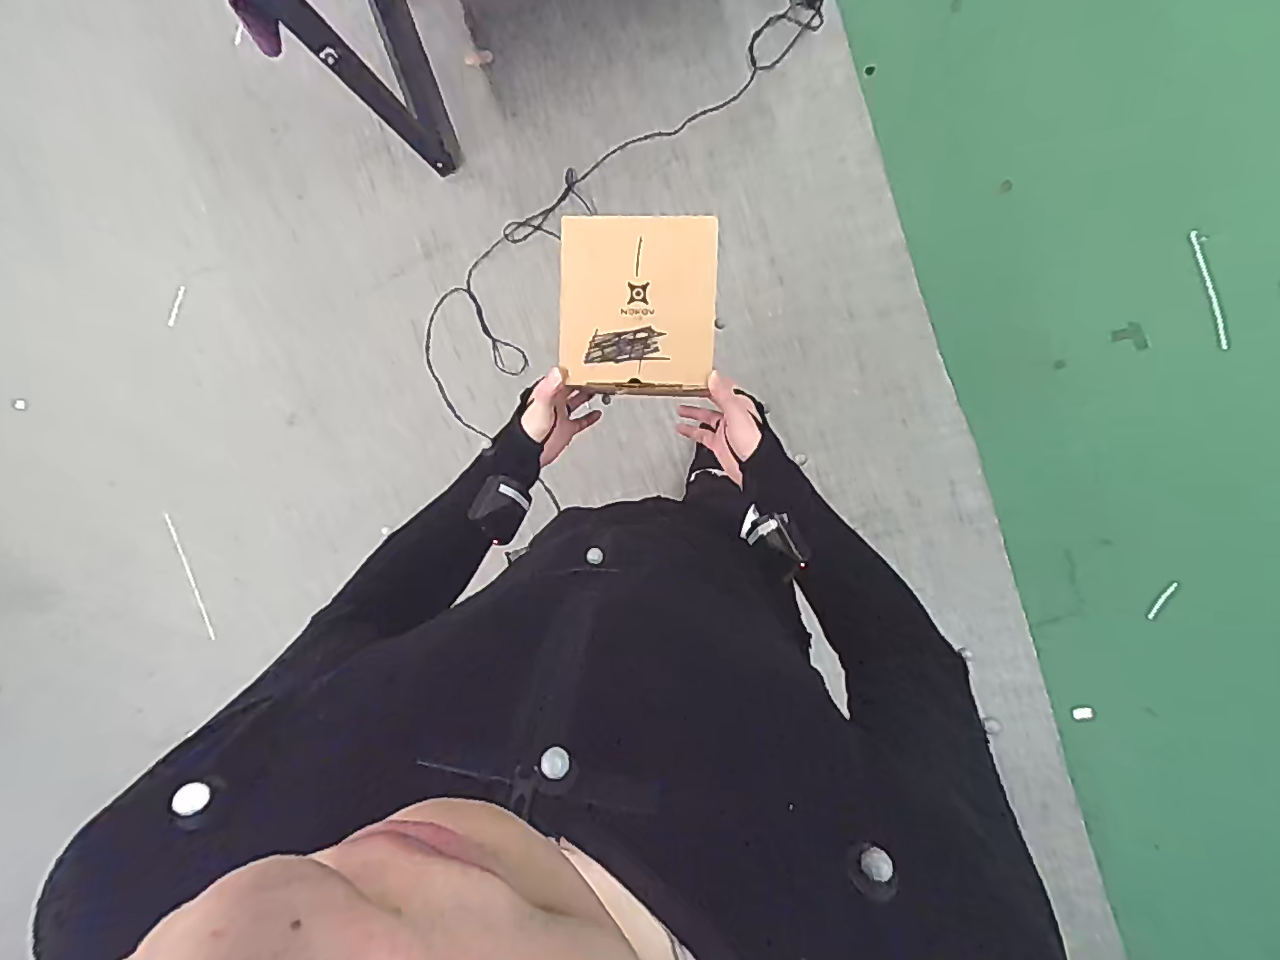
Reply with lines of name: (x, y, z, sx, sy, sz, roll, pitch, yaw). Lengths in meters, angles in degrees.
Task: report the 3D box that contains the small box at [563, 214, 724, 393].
small box: (0.008, -0.197, 0.646, 0.168, 0.176, 0.179, 3, 96, 3)
